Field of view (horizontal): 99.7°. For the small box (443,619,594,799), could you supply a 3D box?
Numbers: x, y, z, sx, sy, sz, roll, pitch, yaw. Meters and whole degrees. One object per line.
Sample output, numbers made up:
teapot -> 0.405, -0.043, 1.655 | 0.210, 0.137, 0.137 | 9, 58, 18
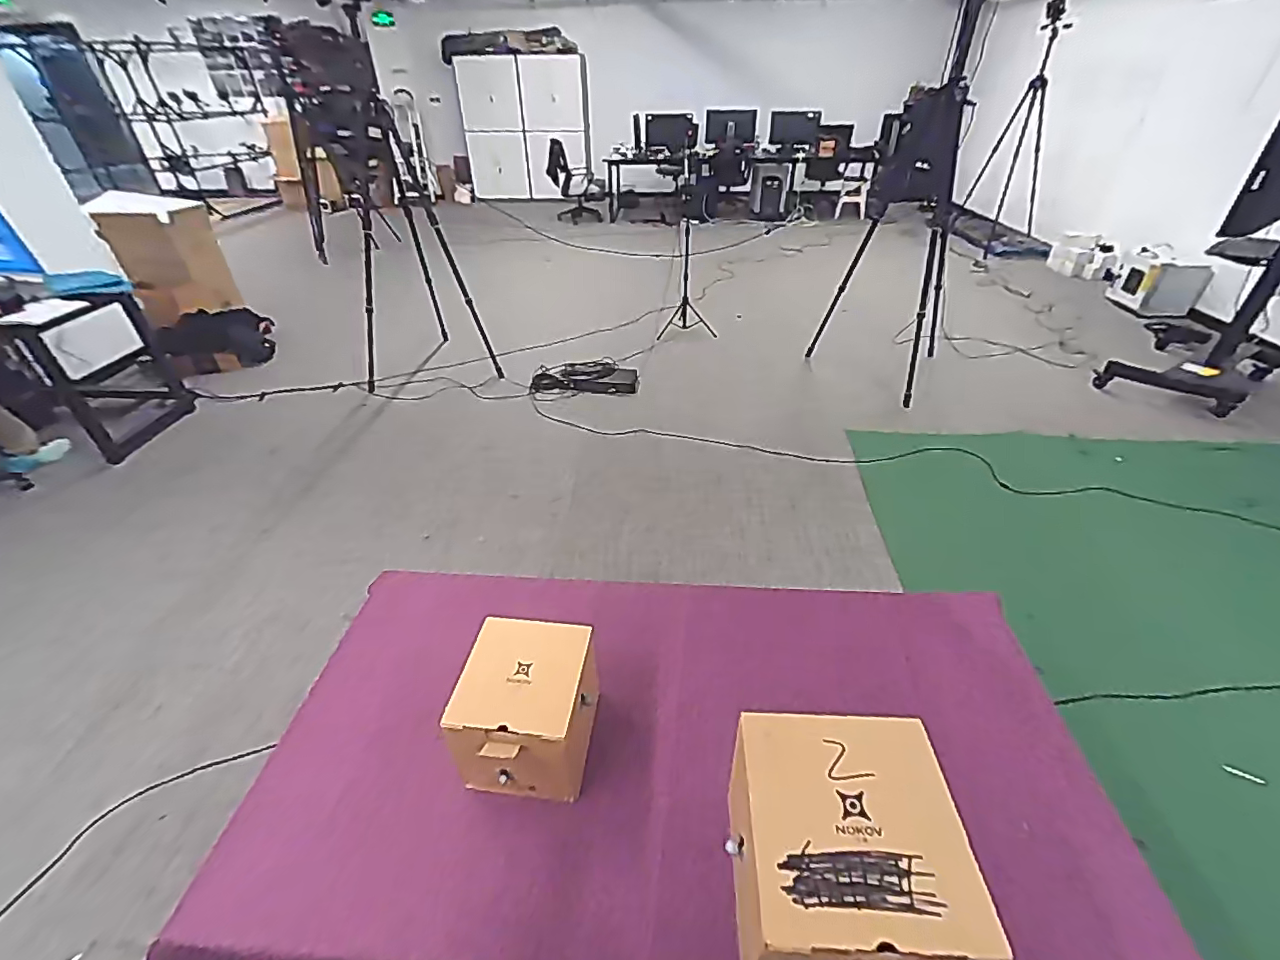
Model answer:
small box -> -0.165, 0.336, 0.803 | 0.168, 0.176, 0.179 | 4, 37, 6
